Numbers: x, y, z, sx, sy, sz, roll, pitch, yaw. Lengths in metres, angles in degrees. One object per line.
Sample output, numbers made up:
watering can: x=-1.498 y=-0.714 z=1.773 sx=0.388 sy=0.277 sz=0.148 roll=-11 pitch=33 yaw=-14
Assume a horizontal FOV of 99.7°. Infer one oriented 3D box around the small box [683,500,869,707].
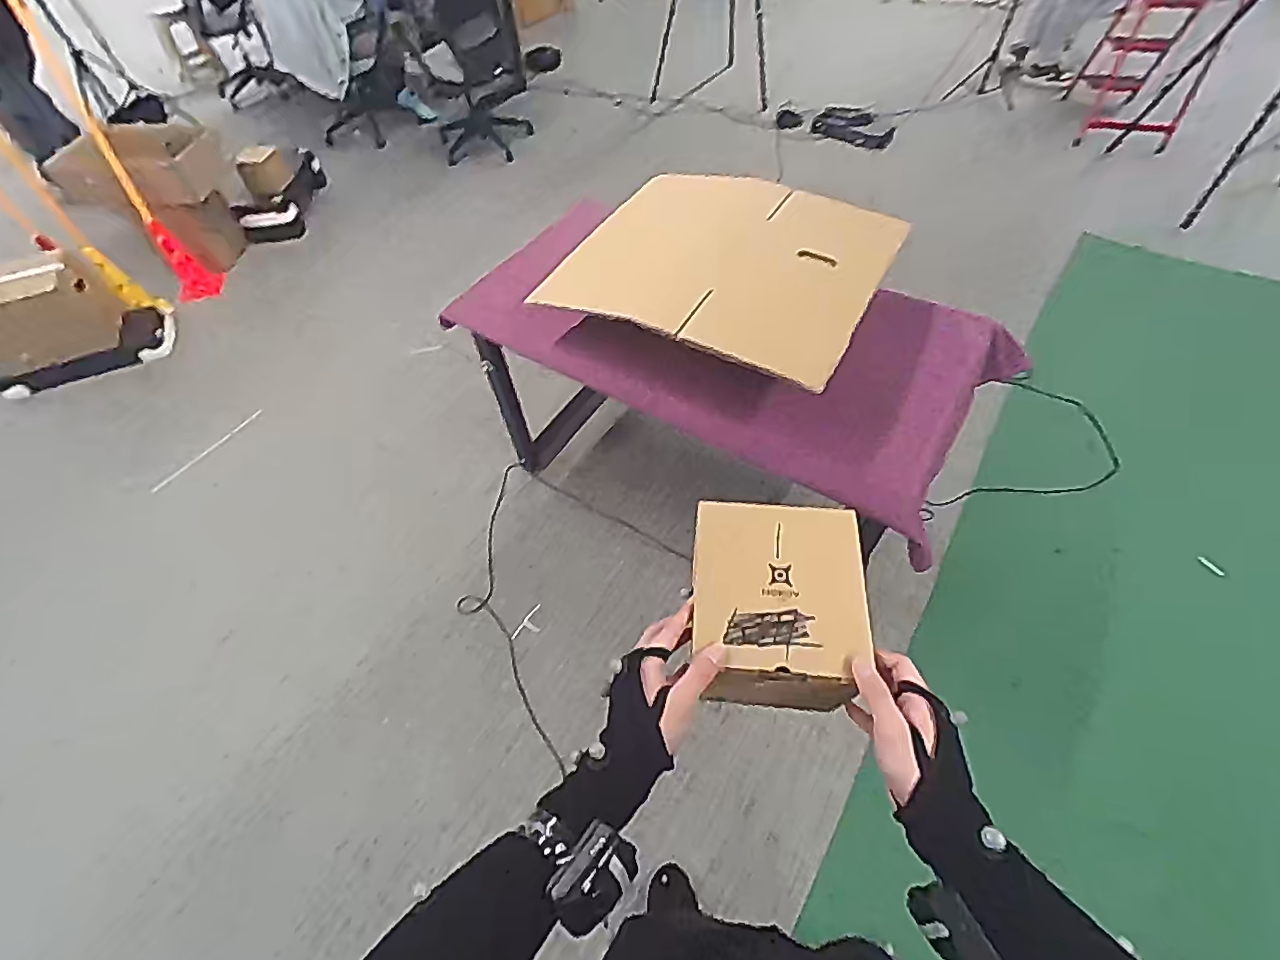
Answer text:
small box: x=0.134 y=0.141 z=0.593 sx=0.168 sy=0.176 sz=0.179 roll=3 pitch=58 yaw=5
